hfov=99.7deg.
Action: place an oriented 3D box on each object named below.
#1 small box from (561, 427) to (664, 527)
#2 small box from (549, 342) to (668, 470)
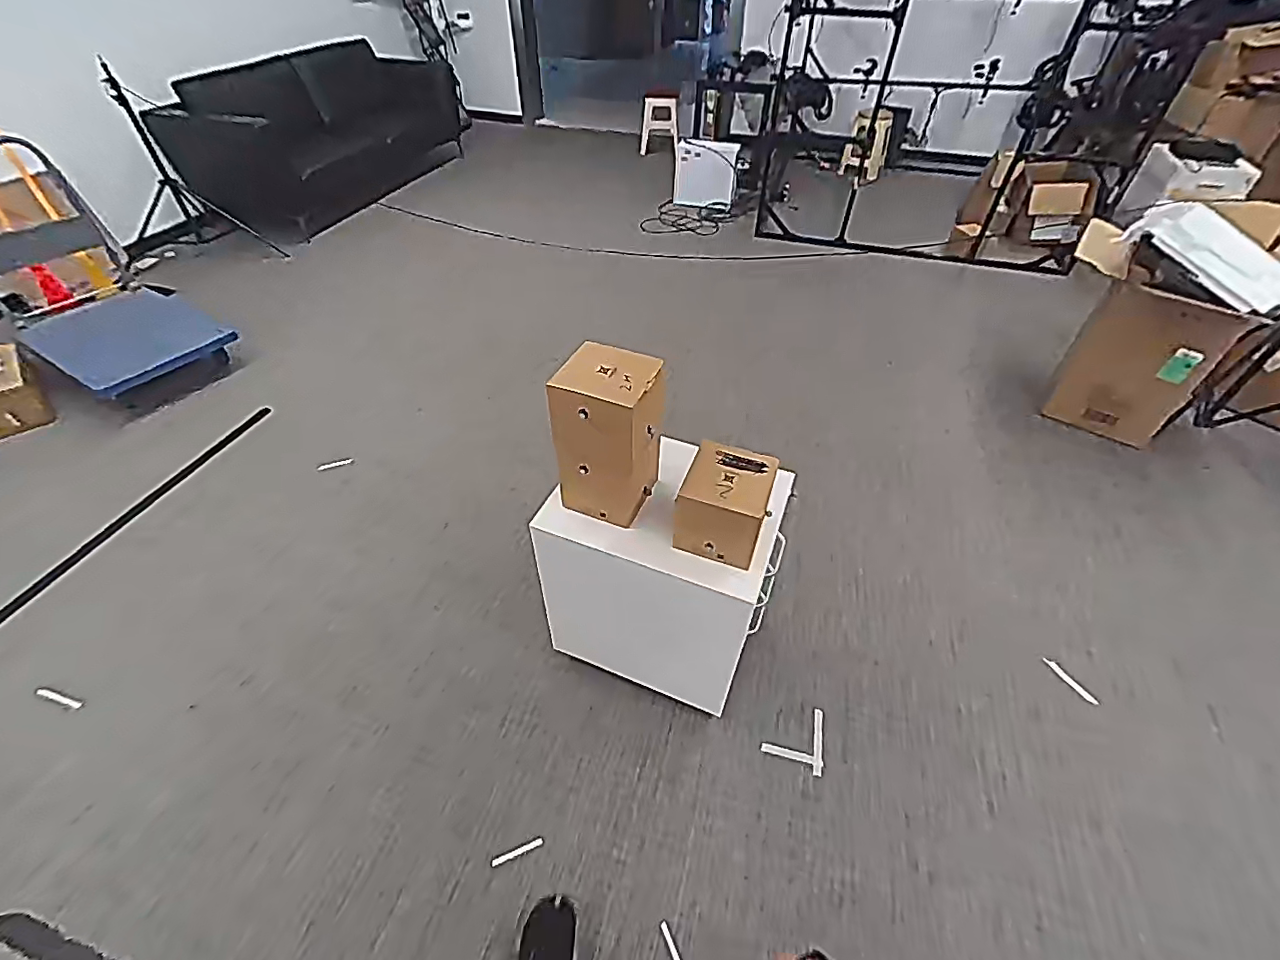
[{"bbox_3d":[-0.059,-0.029,1.187,0.168,0.176,0.179,18,46,16],"label":"small box"},{"bbox_3d":[-0.058,-0.143,1.068,0.179,0.176,0.168,18,48,15],"label":"small box"}]
